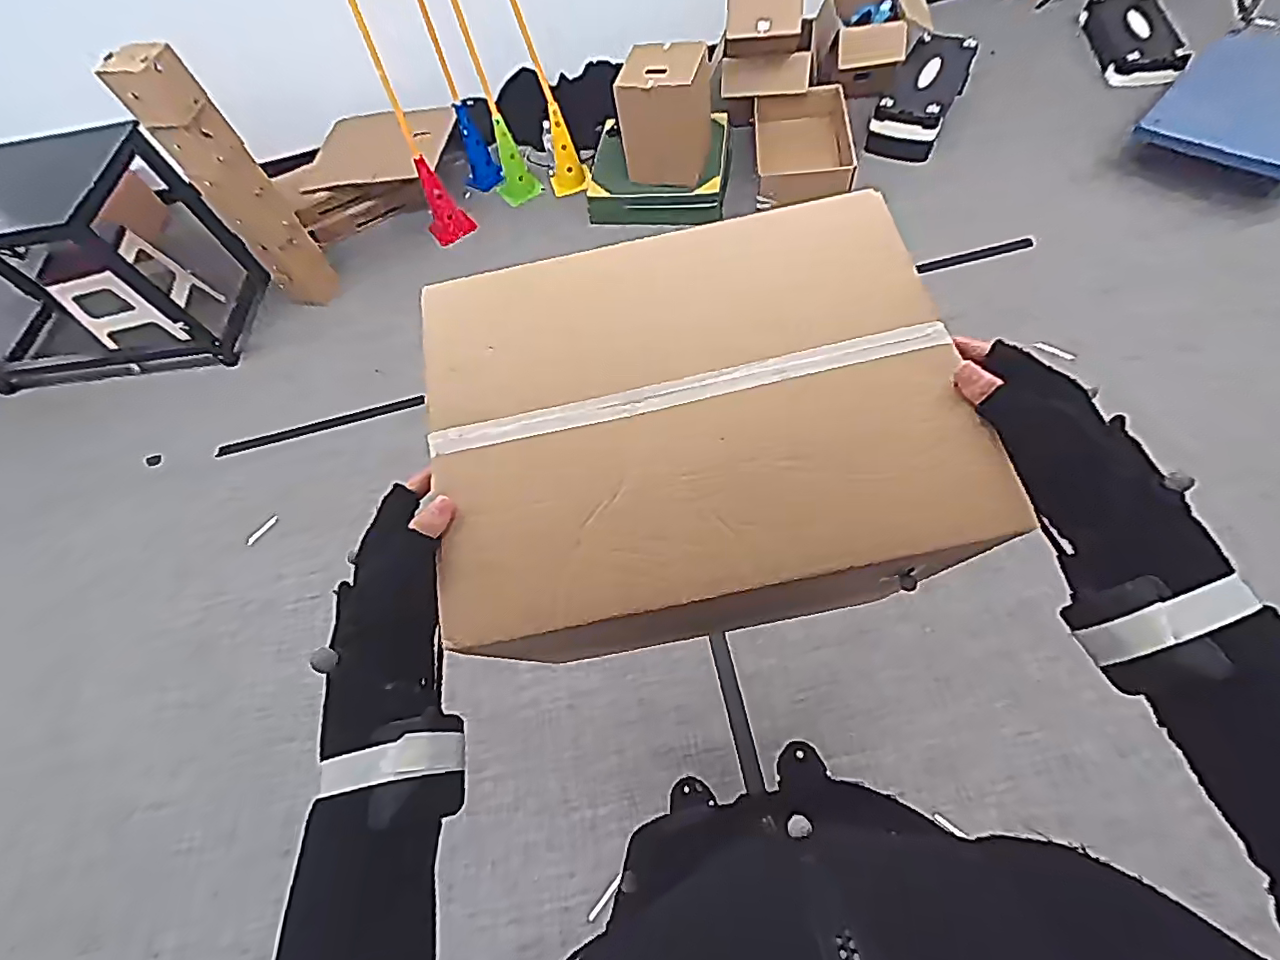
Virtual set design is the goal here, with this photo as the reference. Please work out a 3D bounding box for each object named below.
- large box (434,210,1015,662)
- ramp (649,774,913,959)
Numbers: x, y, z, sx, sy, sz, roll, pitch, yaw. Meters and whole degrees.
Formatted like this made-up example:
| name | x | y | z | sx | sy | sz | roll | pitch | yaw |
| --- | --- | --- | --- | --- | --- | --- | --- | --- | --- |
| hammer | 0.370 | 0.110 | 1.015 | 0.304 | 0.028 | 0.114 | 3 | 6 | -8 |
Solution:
| name | x | y | z | sx | sy | sz | roll | pitch | yaw |
| --- | --- | --- | --- | --- | --- | --- | --- | --- | --- |
| large box | 0.053 | -0.008 | 0.564 | 0.408 | 0.320 | 0.320 | -12 | 68 | 1 |
| ramp | 0.363 | 1.183 | 1.082 | 0.509 | 0.206 | 0.991 | -14 | 62 | -1 |
